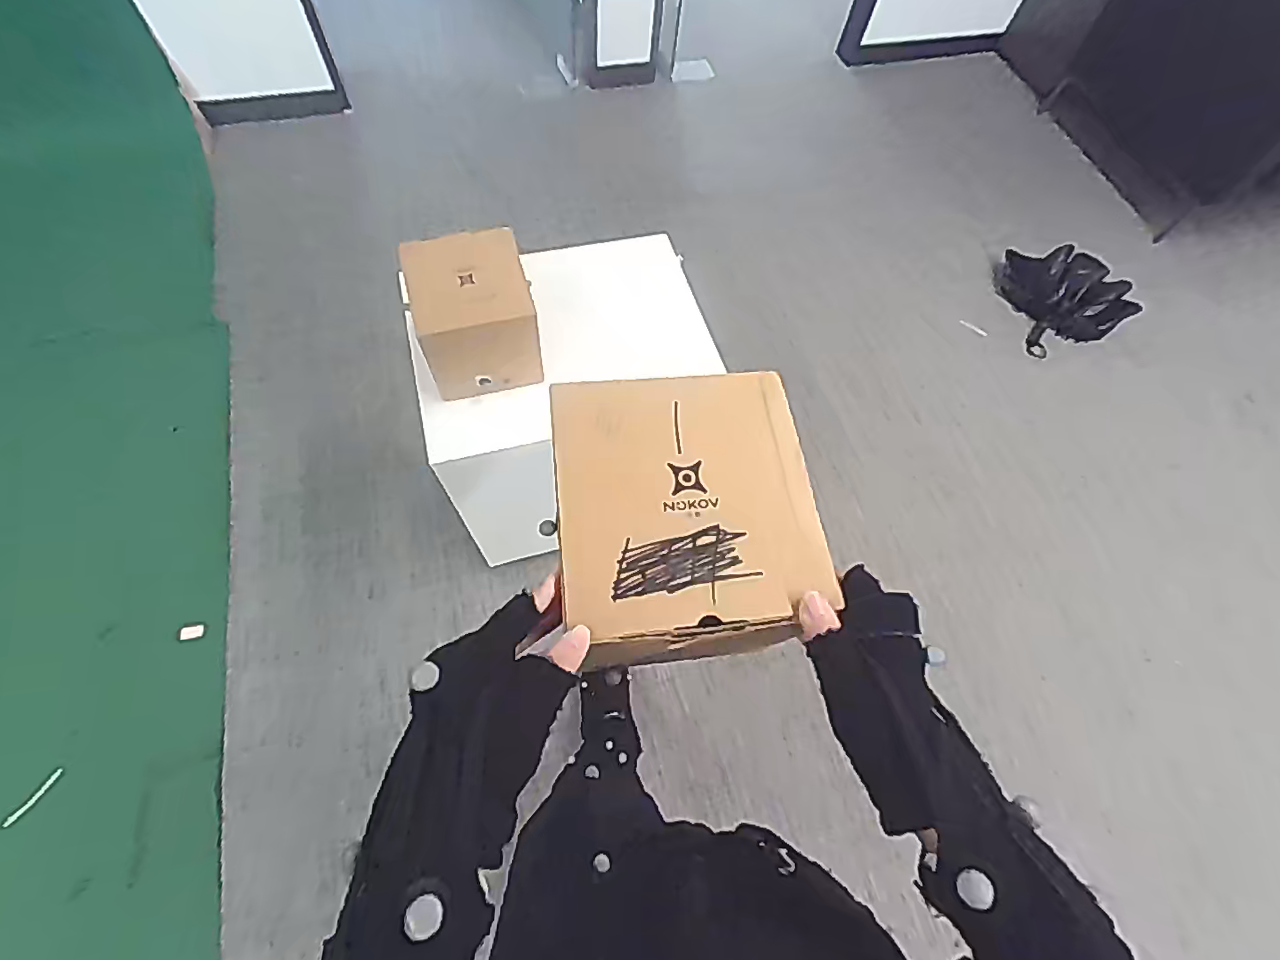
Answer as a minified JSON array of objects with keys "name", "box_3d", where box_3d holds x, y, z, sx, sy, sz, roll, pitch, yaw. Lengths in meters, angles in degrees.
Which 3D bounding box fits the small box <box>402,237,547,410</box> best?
[{"name":"small box","box_3d":[-0.249,-0.238,0.842,0.168,0.176,0.179,-16,68,-11]}]

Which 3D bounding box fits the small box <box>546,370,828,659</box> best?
[{"name":"small box","box_3d":[0.020,0.038,0.422,0.168,0.176,0.179,-5,65,-7]}]
